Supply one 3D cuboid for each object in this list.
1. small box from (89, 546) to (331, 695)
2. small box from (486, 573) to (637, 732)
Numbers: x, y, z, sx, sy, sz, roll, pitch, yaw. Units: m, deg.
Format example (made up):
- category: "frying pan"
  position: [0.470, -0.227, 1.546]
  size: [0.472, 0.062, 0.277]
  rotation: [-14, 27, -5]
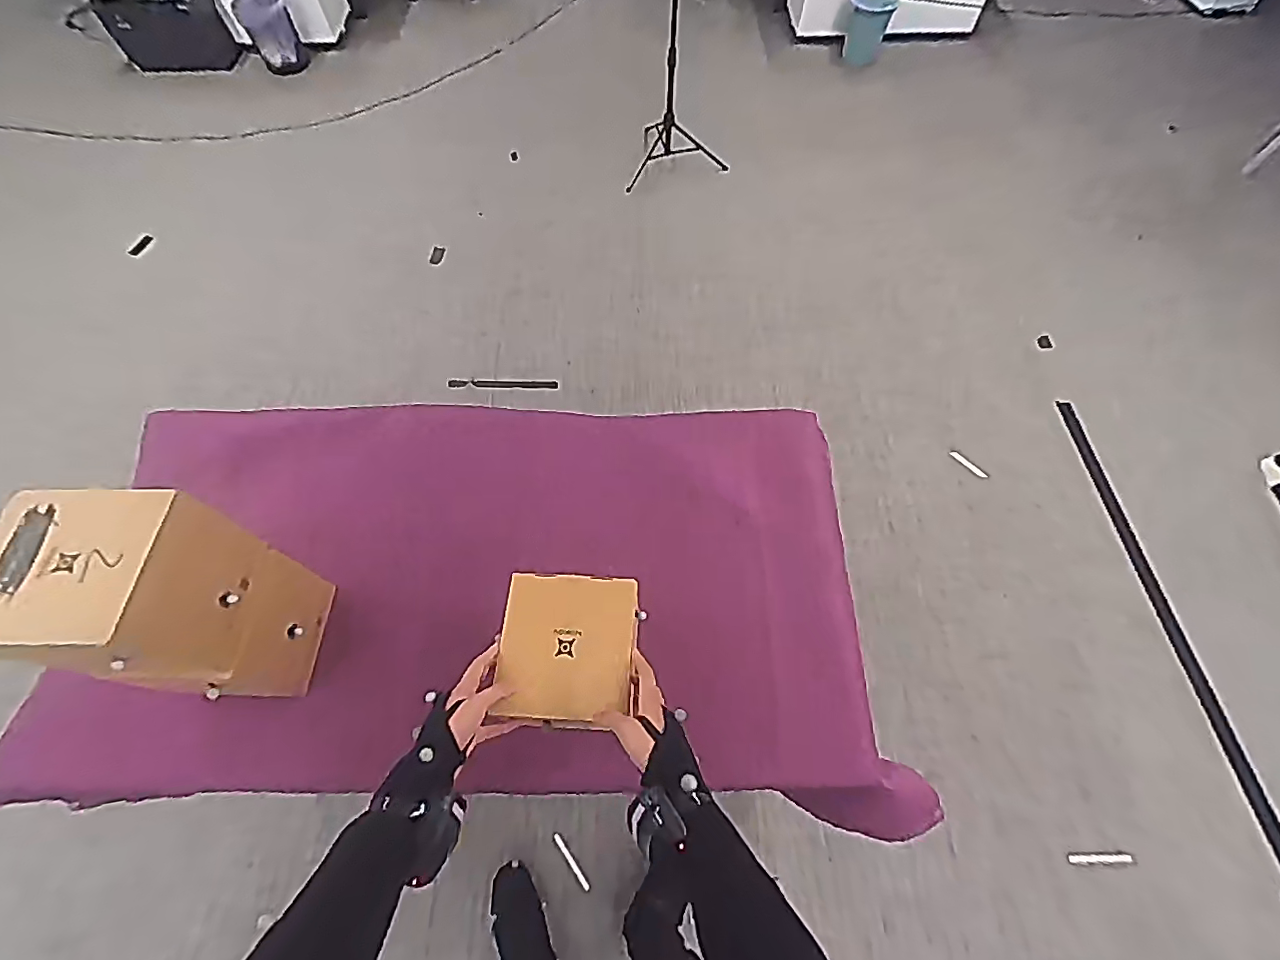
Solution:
- category: "small box"
  position: [-0.571, 0.201, 0.753]
  size: [0.179, 0.176, 0.168]
  rotation: [1, 61, 1]
- category: "small box"
  position: [-0.092, 0.239, 0.734]
  size: [0.168, 0.176, 0.179]
  rotation: [3, 61, 2]
